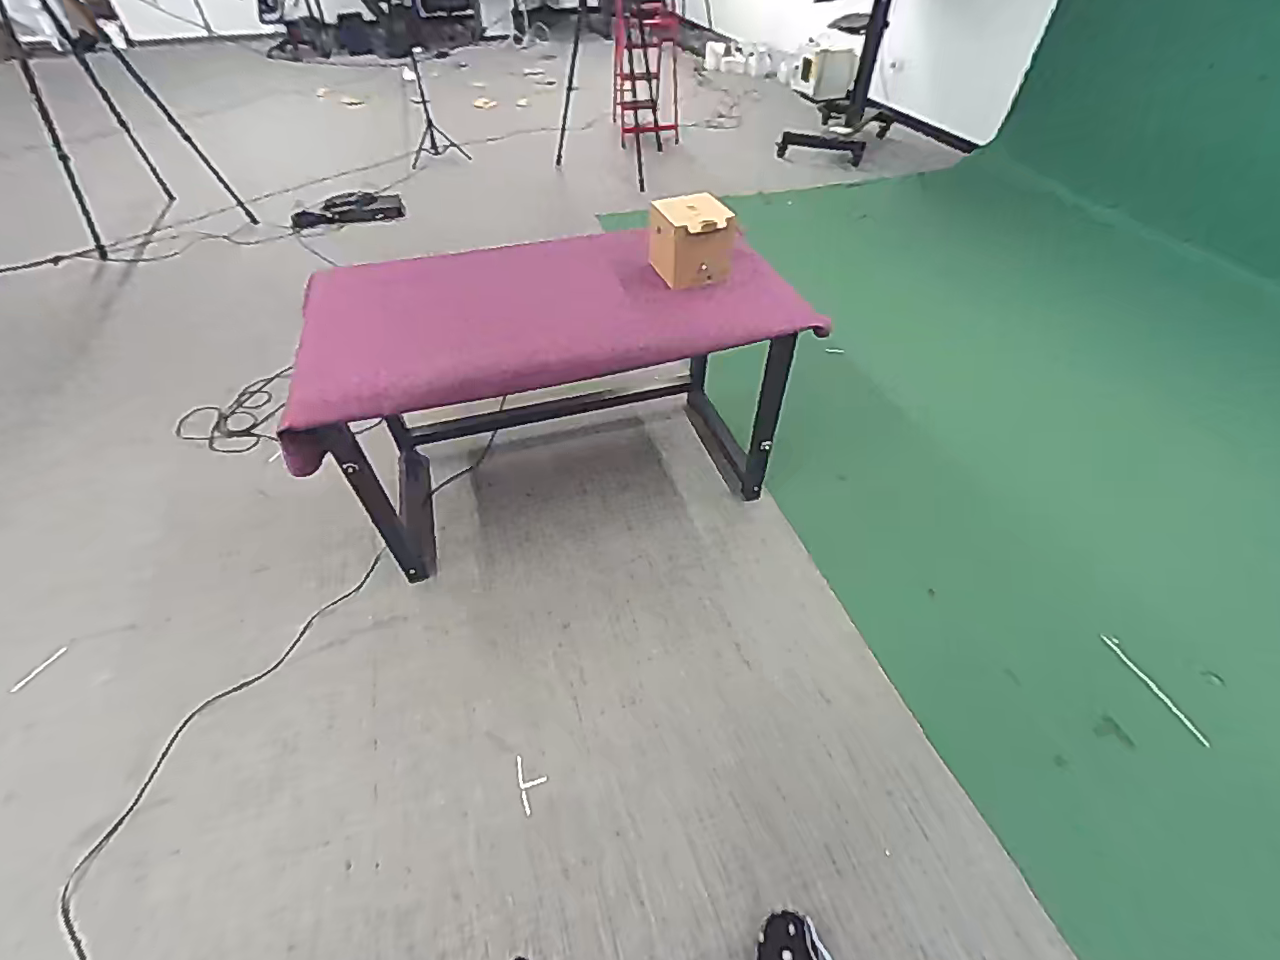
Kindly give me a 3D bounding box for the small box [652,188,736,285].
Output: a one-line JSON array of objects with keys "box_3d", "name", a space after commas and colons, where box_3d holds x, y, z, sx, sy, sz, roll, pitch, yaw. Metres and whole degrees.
[{"box_3d": [0.133, -0.641, 1.425, 0.168, 0.176, 0.179, -16, 51, -12], "name": "small box"}]
